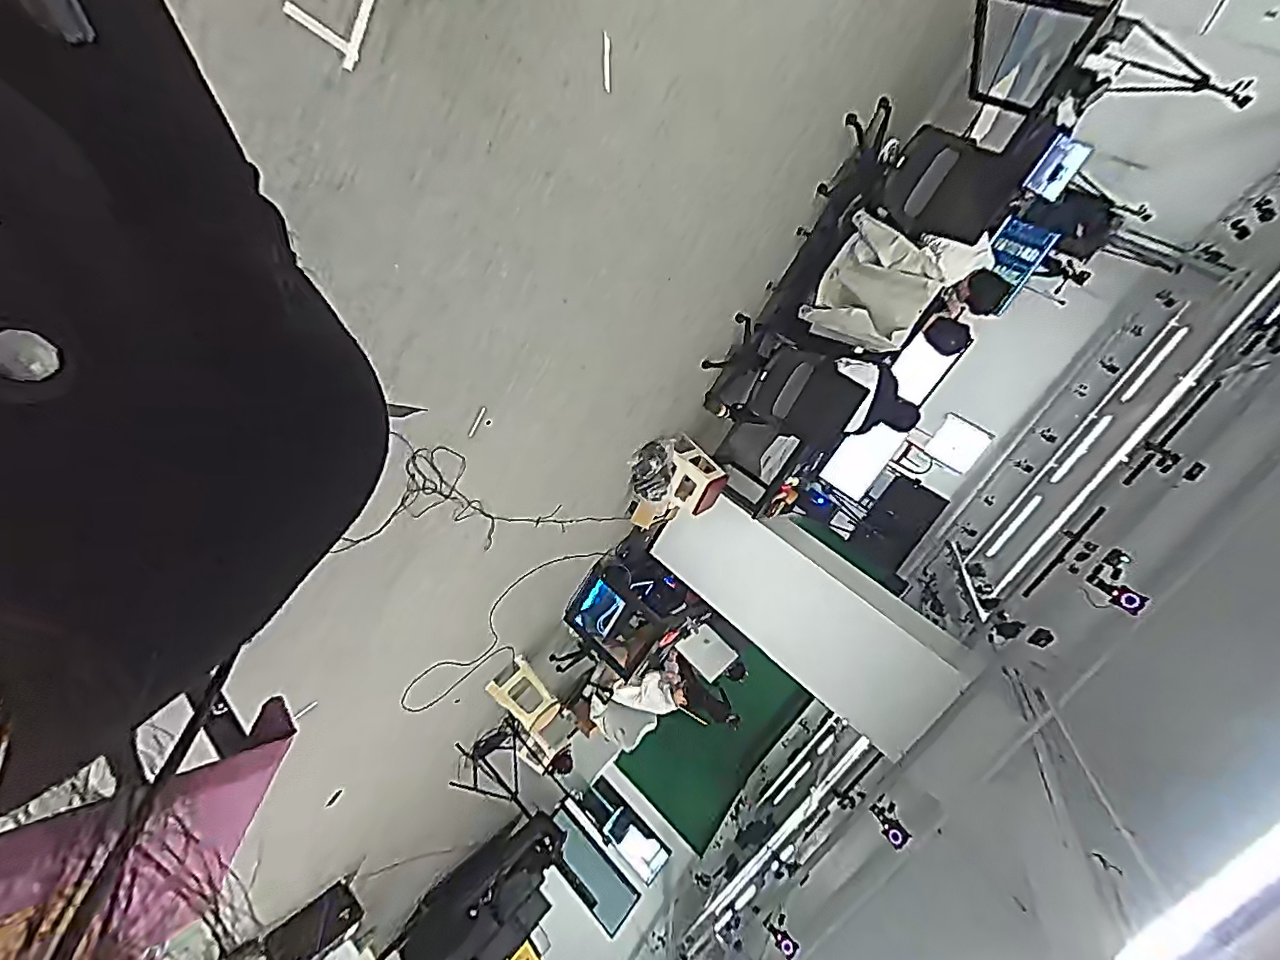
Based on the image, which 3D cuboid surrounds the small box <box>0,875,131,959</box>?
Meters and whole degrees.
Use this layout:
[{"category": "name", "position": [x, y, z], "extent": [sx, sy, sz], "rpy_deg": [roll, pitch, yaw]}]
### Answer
[{"category": "small box", "position": [-1.106, 0.892, 1.008], "extent": [0.179, 0.176, 0.168], "rpy_deg": [-58, 157, 16]}]
